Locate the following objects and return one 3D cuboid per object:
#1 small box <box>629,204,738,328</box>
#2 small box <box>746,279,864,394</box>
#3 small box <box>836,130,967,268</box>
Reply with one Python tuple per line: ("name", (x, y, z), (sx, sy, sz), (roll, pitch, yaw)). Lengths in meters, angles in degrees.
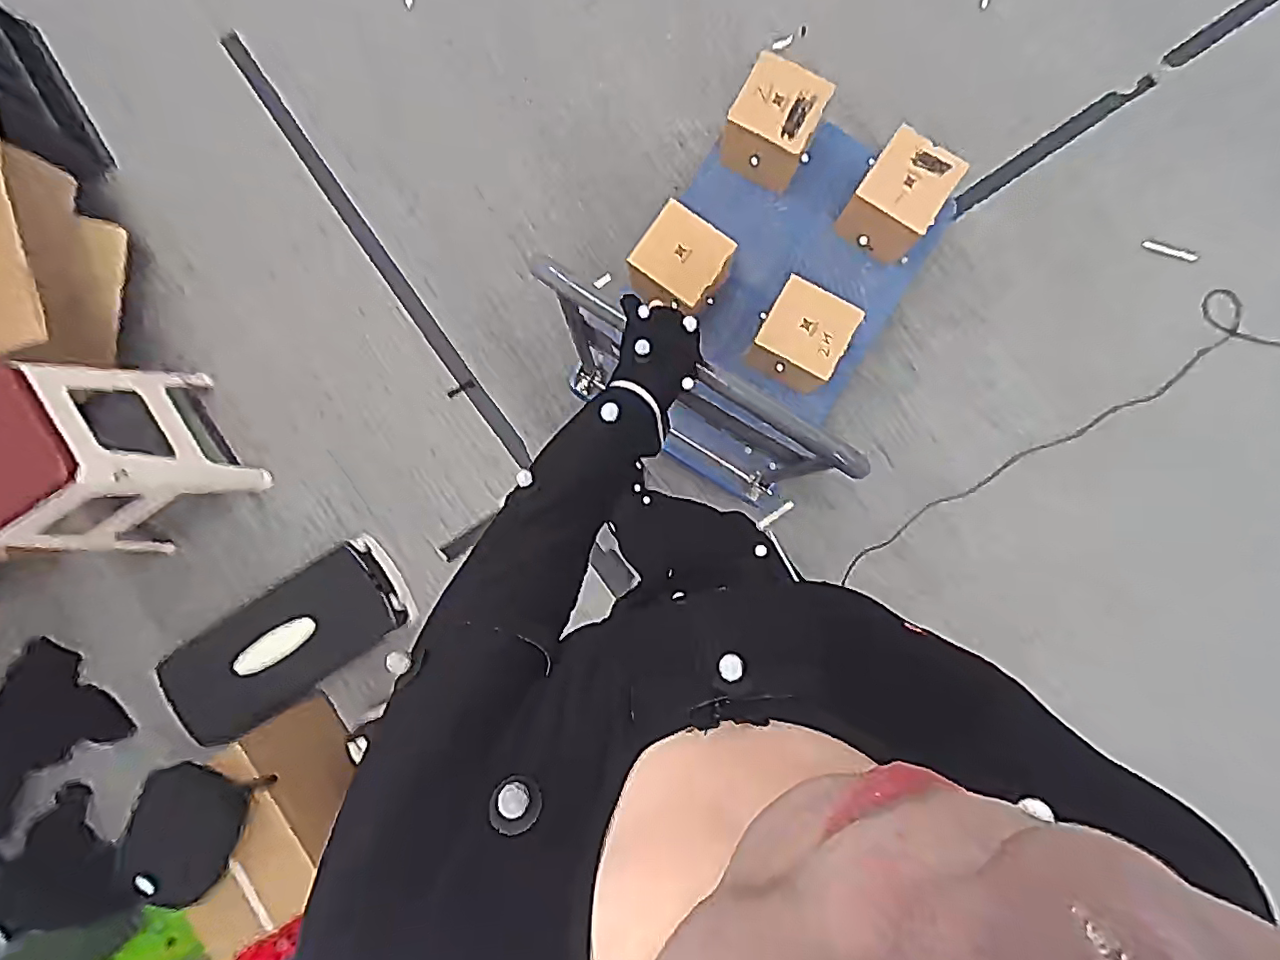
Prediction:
("small box", (0.092, -0.471, 1.224), (0.179, 0.176, 0.168), (36, 90, 1))
("small box", (0.356, -0.309, 1.208), (0.179, 0.176, 0.168), (30, 91, 3))
("small box", (0.567, -0.613, 1.202), (0.168, 0.176, 0.179), (34, 92, 3))
